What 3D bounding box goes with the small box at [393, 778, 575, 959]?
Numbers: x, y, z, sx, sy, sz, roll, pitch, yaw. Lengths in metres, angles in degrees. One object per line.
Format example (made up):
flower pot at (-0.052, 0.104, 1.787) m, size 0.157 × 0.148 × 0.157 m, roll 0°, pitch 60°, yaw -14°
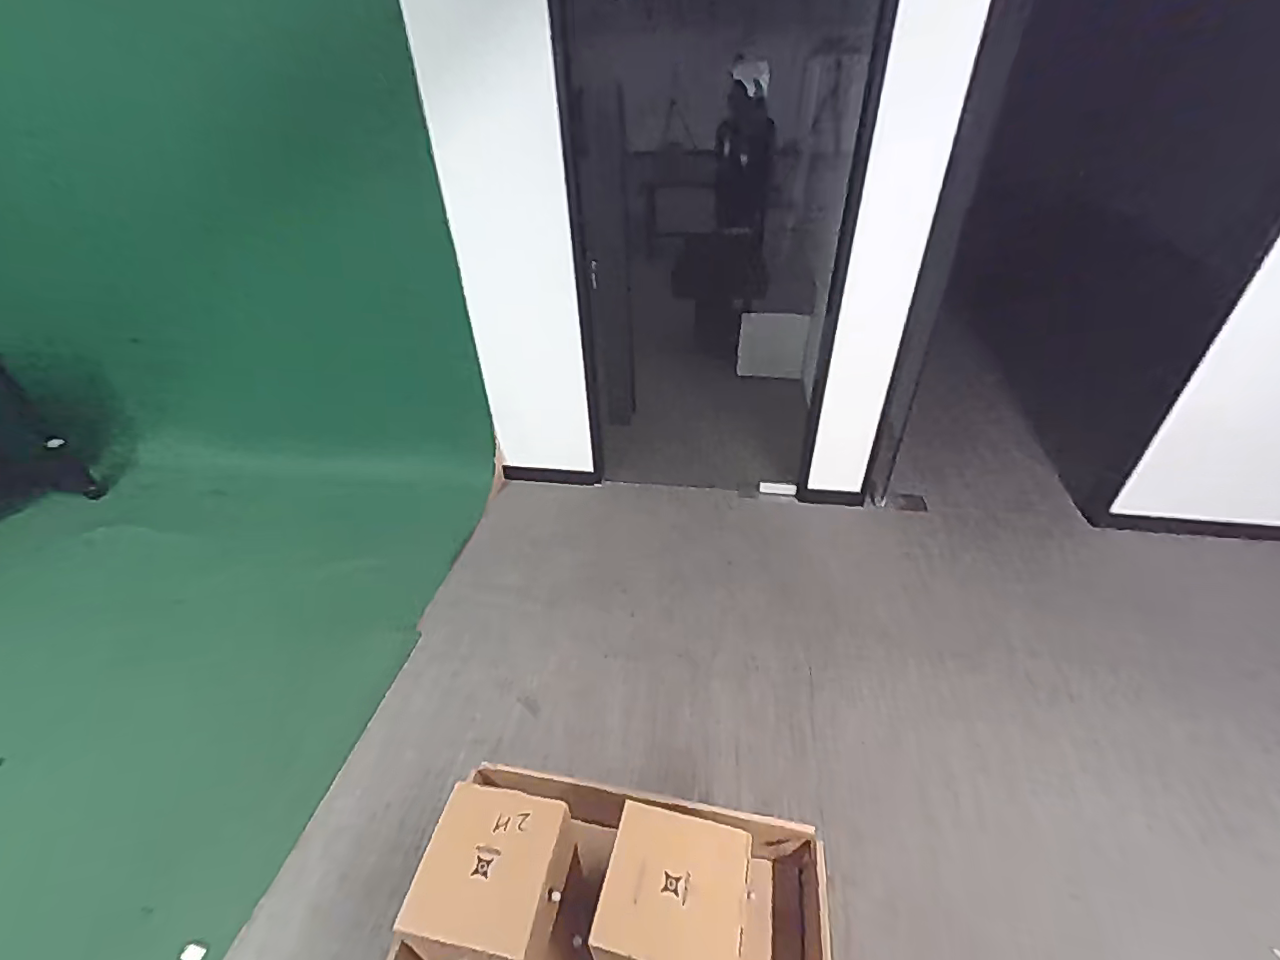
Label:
small box at (-0.193, 0.547, 0.735) m, size 0.168 × 0.176 × 0.179 m, roll 5°, pitch 36°, yaw 11°
